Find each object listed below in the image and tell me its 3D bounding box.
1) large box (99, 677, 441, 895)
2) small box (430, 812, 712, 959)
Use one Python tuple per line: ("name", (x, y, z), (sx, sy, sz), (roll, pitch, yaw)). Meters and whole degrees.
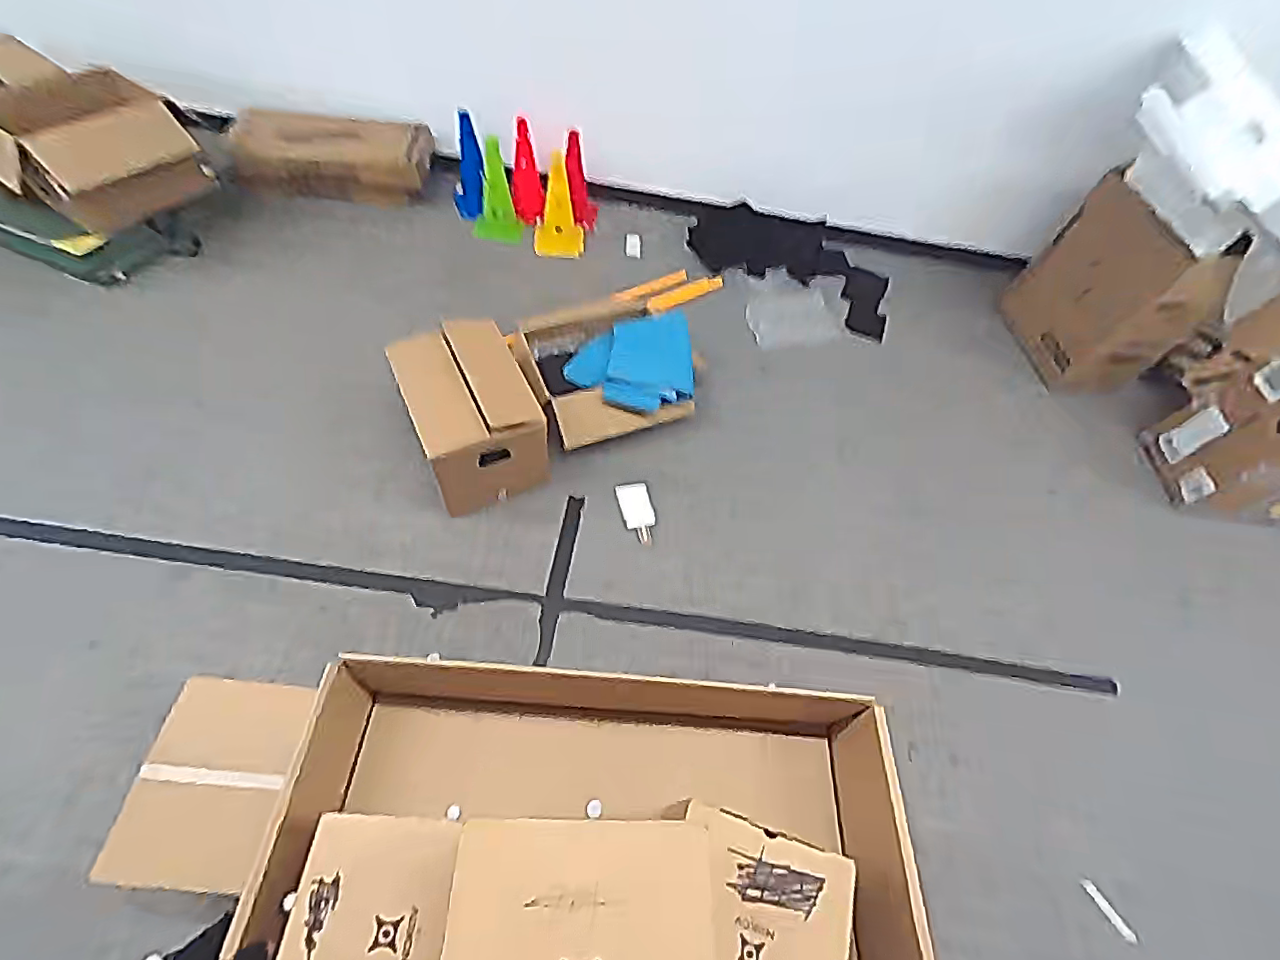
("large box", (-0.655, 0.594, 1.055), (0.408, 0.320, 0.320), (7, 58, -4))
("small box", (-0.048, 0.334, 0.370), (0.168, 0.176, 0.179), (4, 55, -7))
